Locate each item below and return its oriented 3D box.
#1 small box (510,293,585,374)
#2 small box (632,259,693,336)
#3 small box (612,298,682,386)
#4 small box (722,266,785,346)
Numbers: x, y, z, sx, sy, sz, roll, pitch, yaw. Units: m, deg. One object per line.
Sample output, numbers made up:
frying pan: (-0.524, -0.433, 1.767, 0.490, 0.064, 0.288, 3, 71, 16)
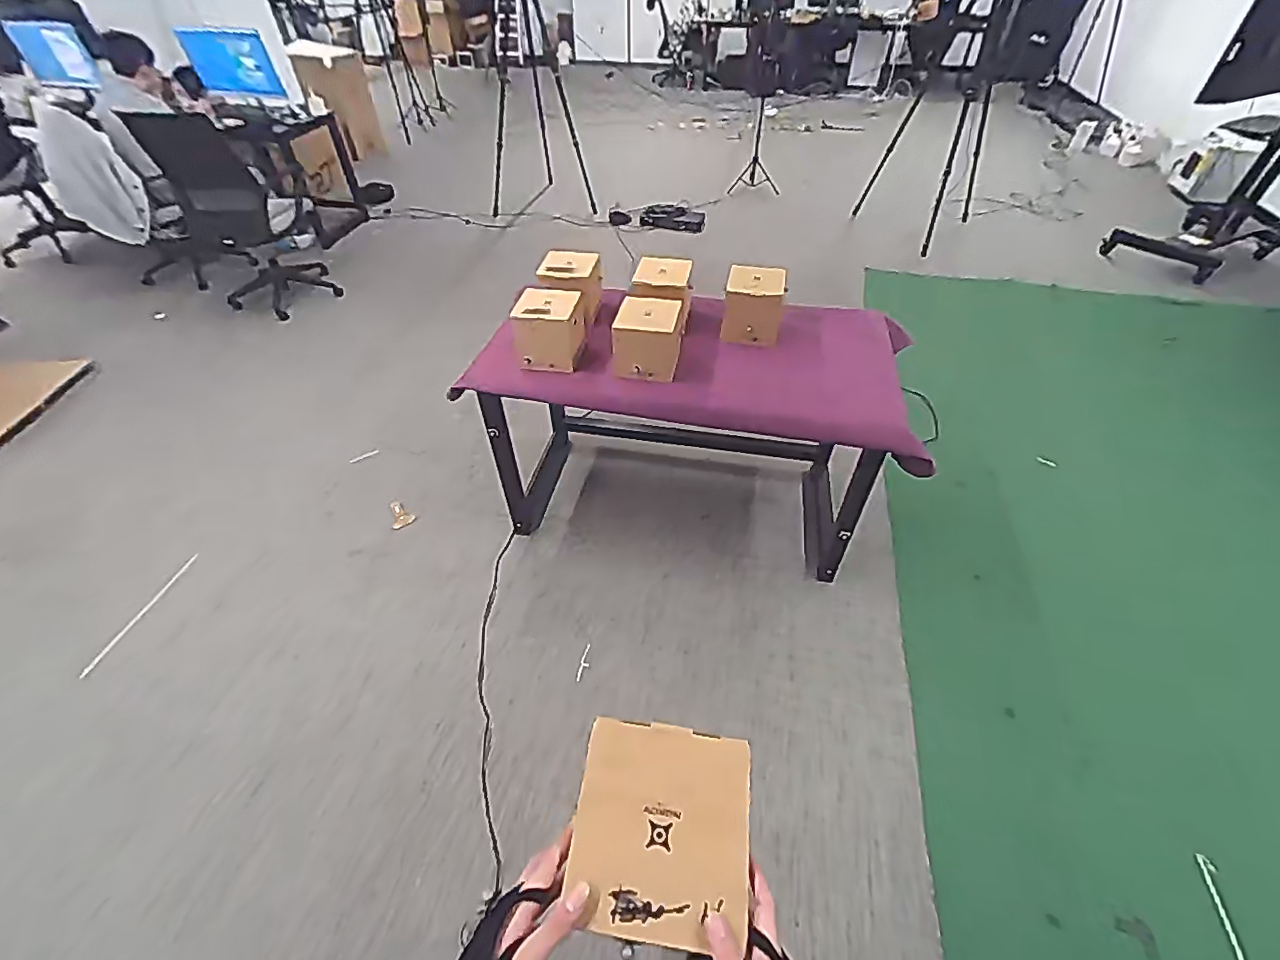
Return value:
small box: (-0.259, -0.424, 1.568, 0.168, 0.176, 0.179, 5, 44, 7)
small box: (0.072, -0.575, 1.709, 0.168, 0.176, 0.179, 7, 48, 9)
small box: (0.023, -0.391, 1.532, 0.168, 0.176, 0.179, 7, 47, 10)
small box: (0.346, -0.533, 1.656, 0.168, 0.176, 0.179, 8, 47, 10)
